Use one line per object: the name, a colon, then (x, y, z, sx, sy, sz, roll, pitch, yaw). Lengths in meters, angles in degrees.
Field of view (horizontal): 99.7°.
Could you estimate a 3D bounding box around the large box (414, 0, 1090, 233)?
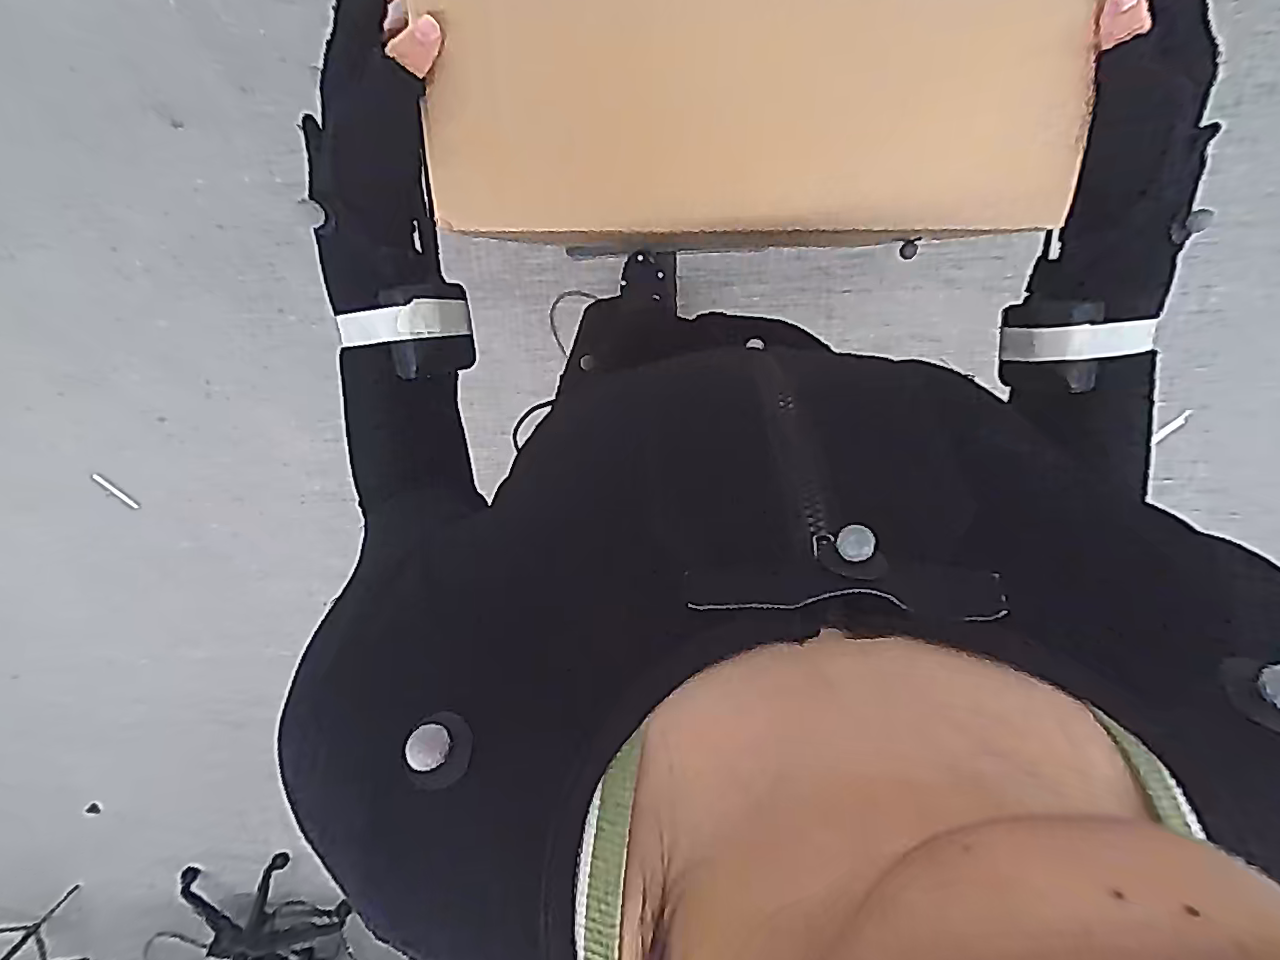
large box: (0.066, -0.373, 0.436, 0.408, 0.320, 0.320, 0, 112, -1)
